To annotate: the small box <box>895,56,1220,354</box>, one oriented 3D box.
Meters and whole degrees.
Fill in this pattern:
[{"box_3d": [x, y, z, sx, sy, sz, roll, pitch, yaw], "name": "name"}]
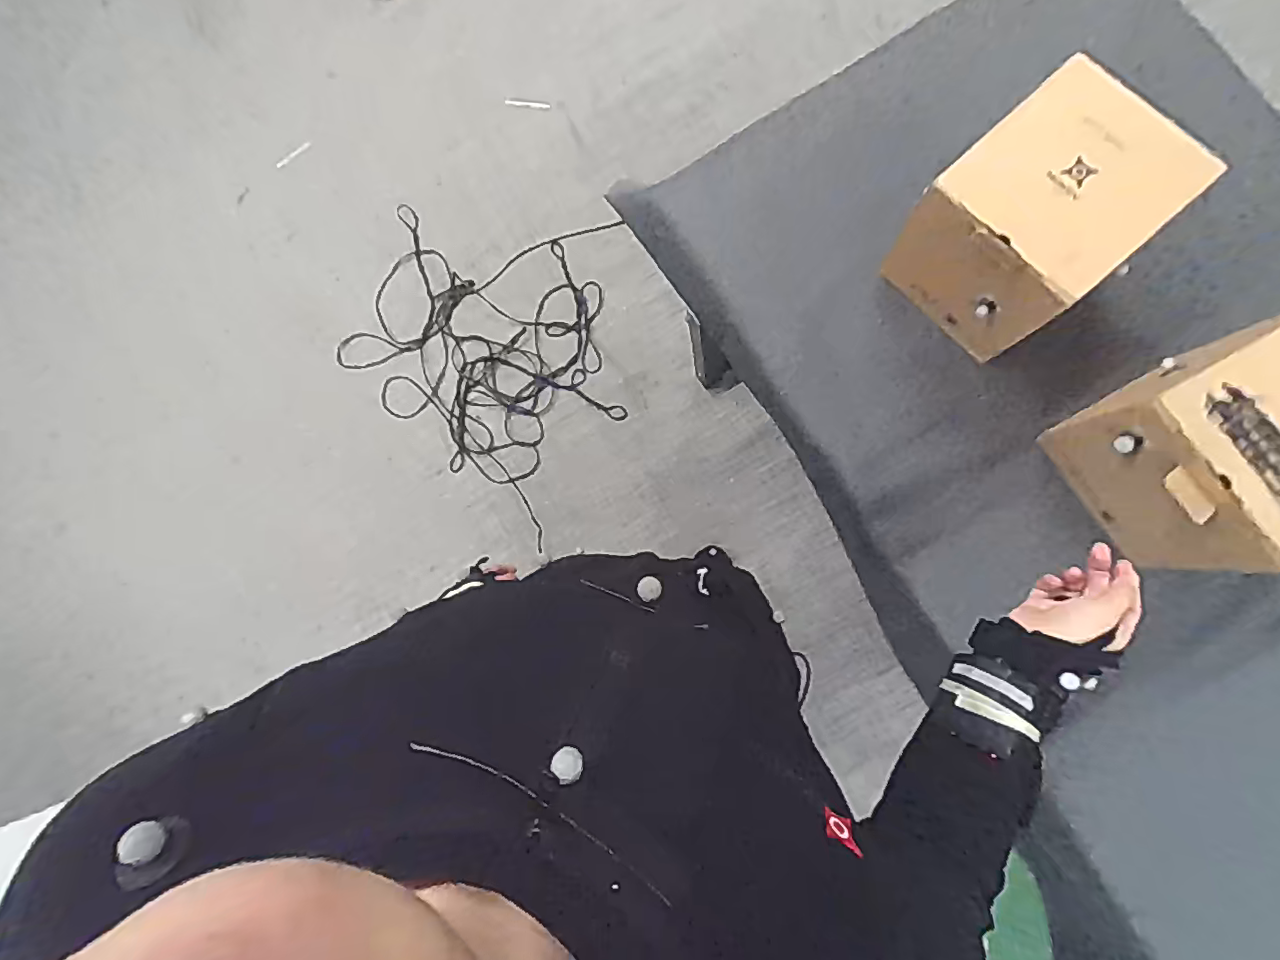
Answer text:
[{"box_3d": [0.395, -0.261, 0.559, 0.179, 0.176, 0.168, -42, 81, 0], "name": "small box"}]
